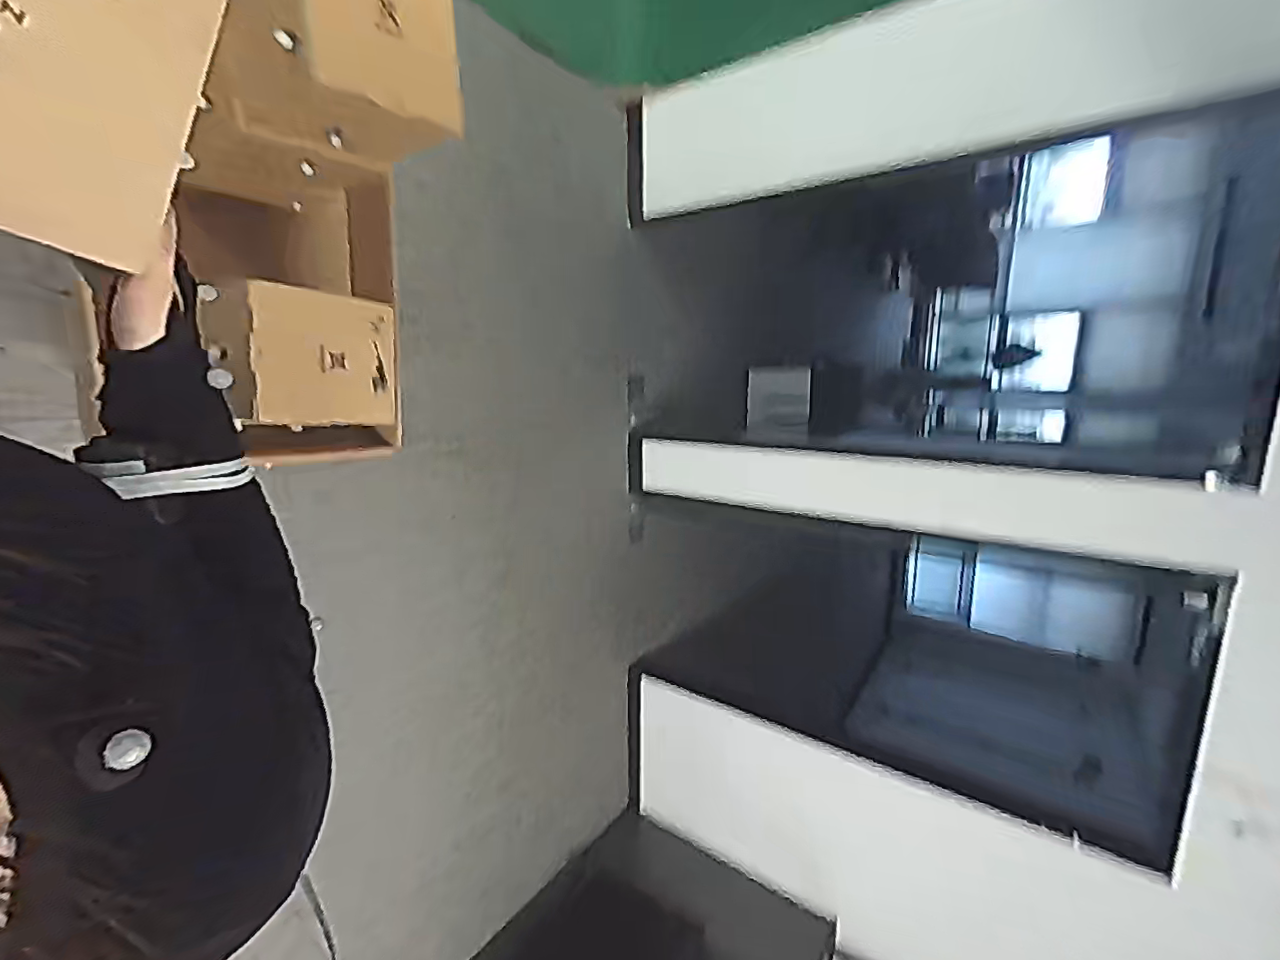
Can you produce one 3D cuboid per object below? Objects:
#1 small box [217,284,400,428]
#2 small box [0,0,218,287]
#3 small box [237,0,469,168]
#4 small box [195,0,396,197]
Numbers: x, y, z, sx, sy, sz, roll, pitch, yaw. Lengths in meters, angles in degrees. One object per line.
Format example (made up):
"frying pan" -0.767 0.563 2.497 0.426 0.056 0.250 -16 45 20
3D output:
"small box" -0.456 -0.159 0.744 0.179 0.176 0.168 -6 102 -53
"small box" -0.364 -0.228 0.280 0.168 0.176 0.179 10 103 -57
"small box" -0.315 -0.475 0.598 0.168 0.176 0.179 -19 113 -51
"small box" -0.447 -0.481 0.695 0.179 0.176 0.168 -17 111 -52
